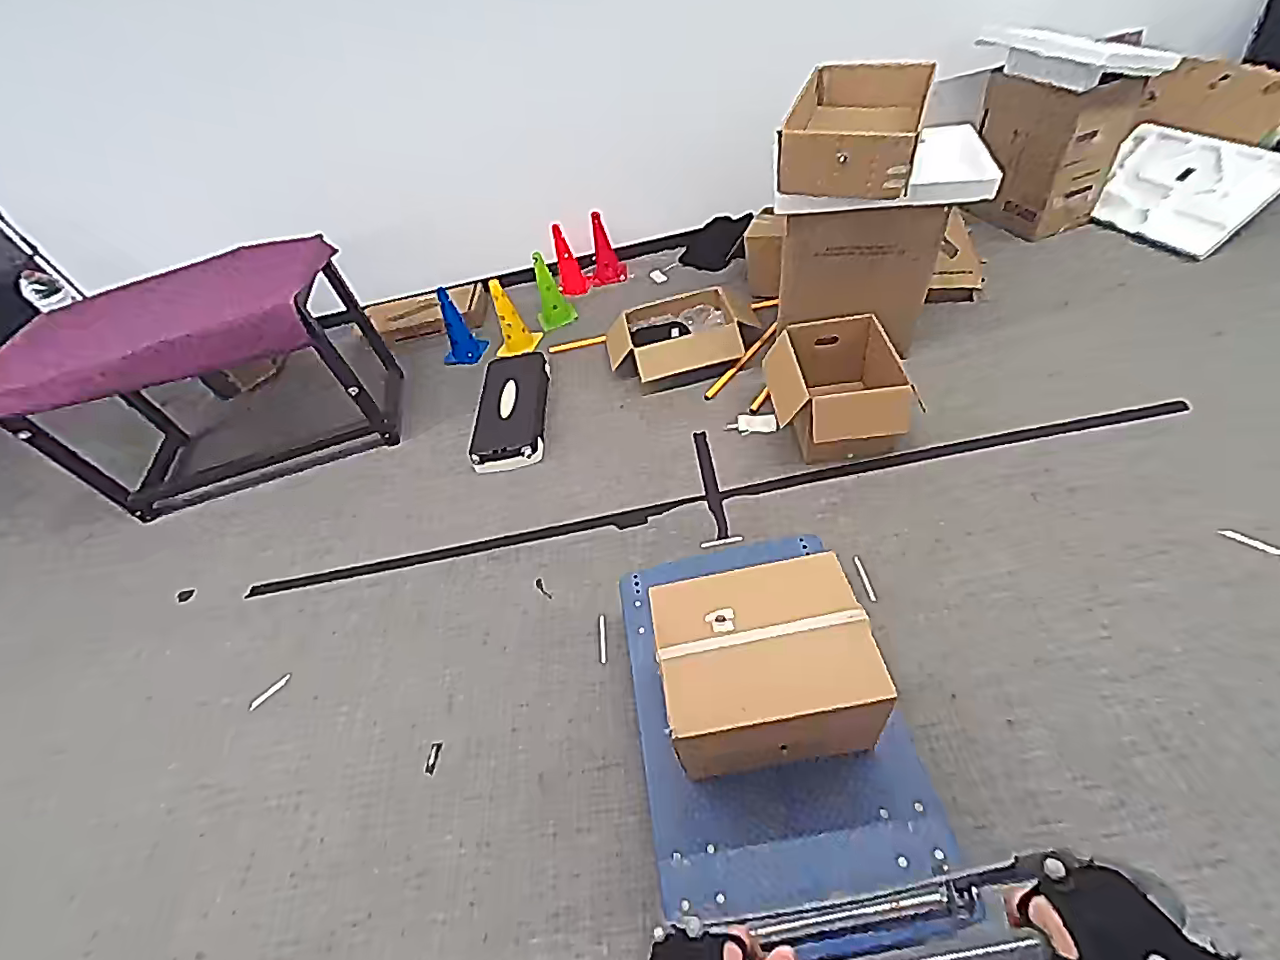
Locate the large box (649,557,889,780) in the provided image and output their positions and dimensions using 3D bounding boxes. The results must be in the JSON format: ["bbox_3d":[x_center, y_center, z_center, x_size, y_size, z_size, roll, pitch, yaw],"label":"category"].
[{"bbox_3d":[0.261,0.416,1.176,0.408,0.320,0.320,-13,46,3],"label":"large box"}]
